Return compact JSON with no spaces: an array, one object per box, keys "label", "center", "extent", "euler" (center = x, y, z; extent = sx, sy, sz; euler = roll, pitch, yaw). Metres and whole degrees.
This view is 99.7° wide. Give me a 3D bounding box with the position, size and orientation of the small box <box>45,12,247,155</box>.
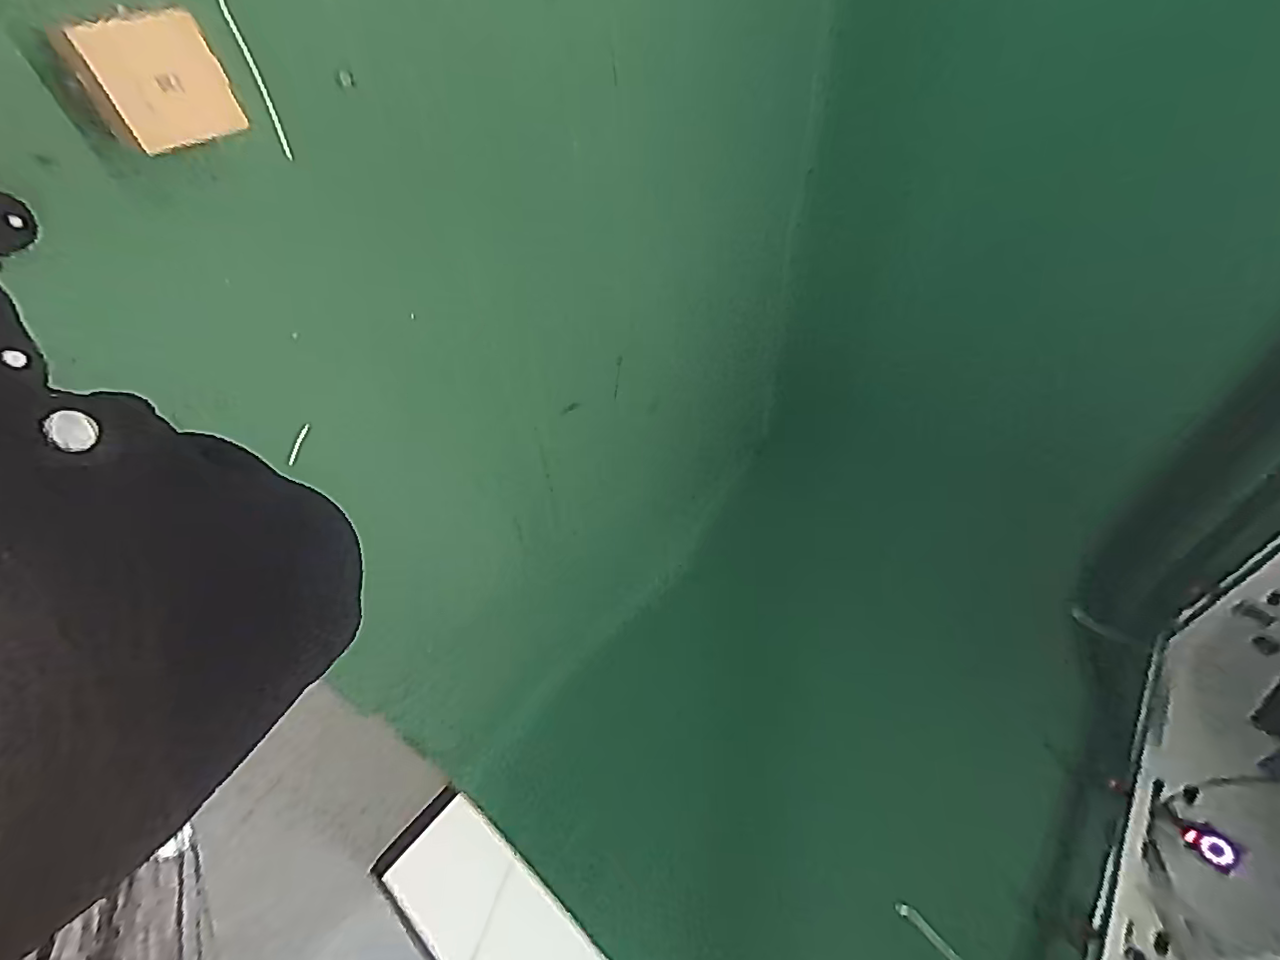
[{"label":"small box","center":[-0.830,-0.674,0.914],"extent":[0.179,0.176,0.168],"euler":[-42,145,-29]}]
